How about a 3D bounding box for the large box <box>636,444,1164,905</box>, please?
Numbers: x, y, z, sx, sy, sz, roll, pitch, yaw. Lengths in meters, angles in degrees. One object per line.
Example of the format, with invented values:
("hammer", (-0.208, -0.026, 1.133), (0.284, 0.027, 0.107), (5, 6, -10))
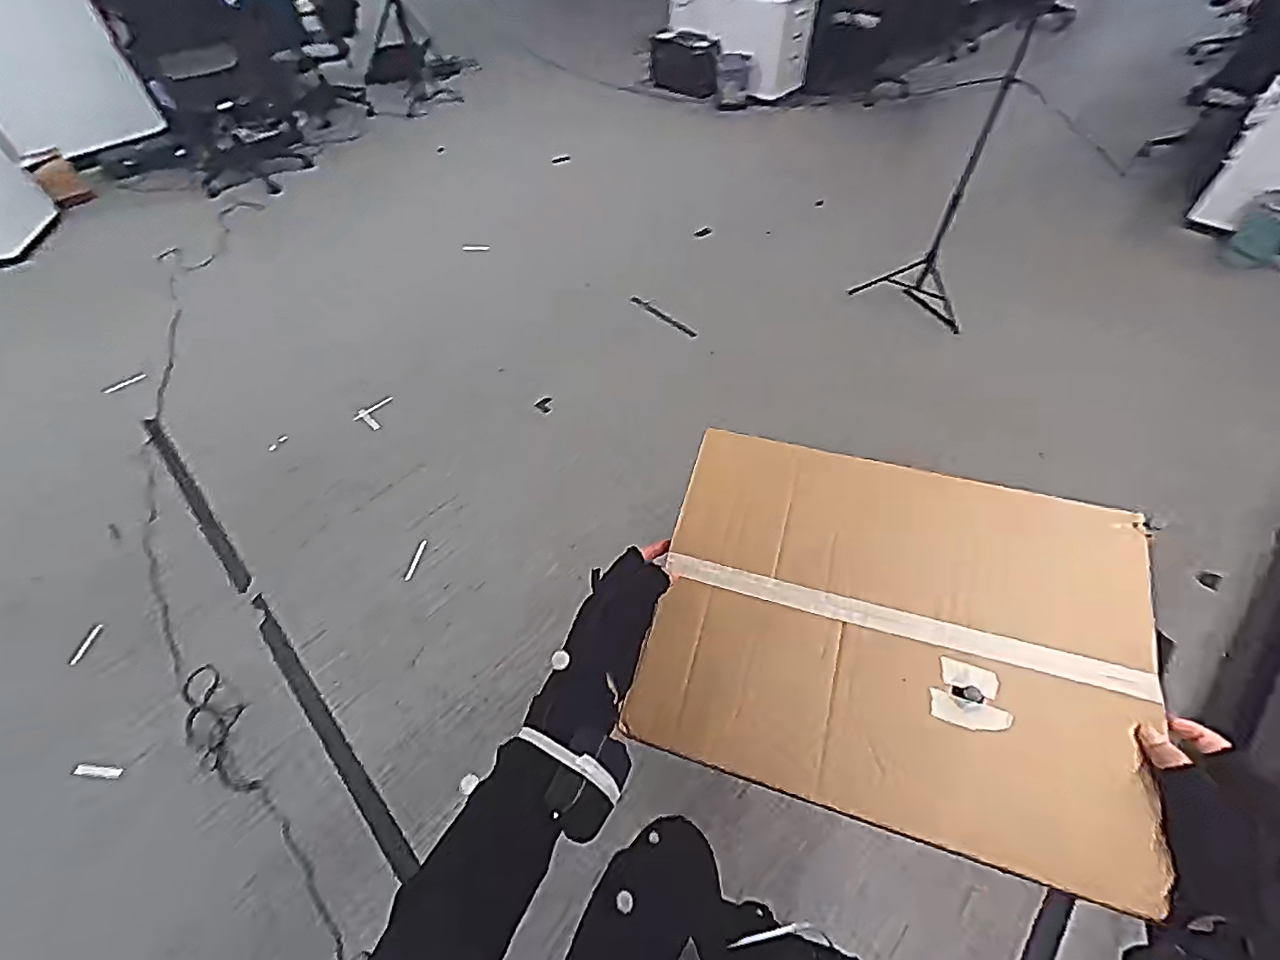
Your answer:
("large box", (0.241, 0.197, 0.617), (0.408, 0.320, 0.320), (13, 67, 14))
